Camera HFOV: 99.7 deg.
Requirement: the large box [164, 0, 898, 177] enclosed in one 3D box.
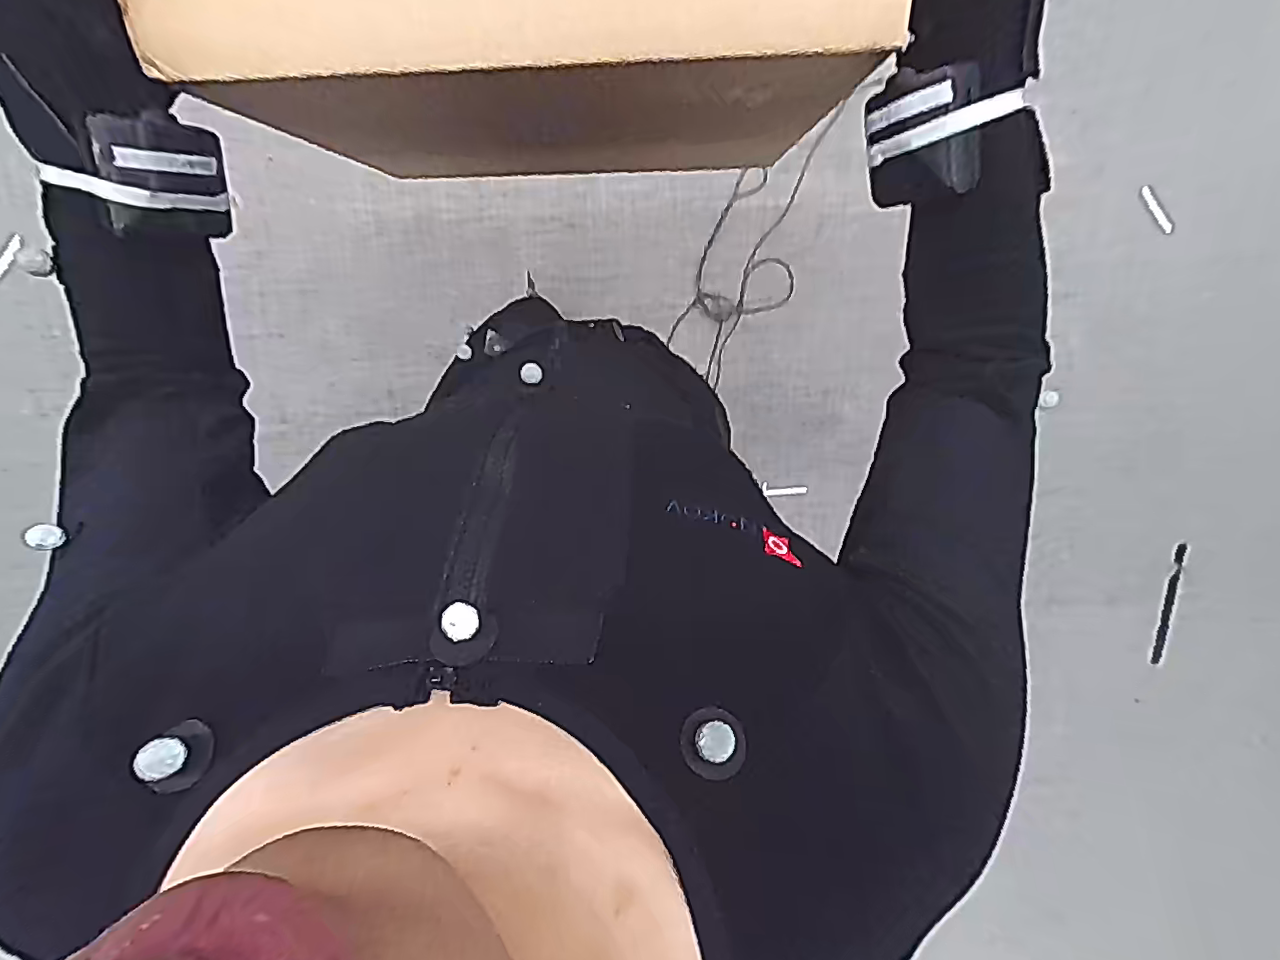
[{"bbox_3d":[-0.066,-0.429,0.389,0.408,0.320,0.320,-2,111,1],"label":"large box"}]
